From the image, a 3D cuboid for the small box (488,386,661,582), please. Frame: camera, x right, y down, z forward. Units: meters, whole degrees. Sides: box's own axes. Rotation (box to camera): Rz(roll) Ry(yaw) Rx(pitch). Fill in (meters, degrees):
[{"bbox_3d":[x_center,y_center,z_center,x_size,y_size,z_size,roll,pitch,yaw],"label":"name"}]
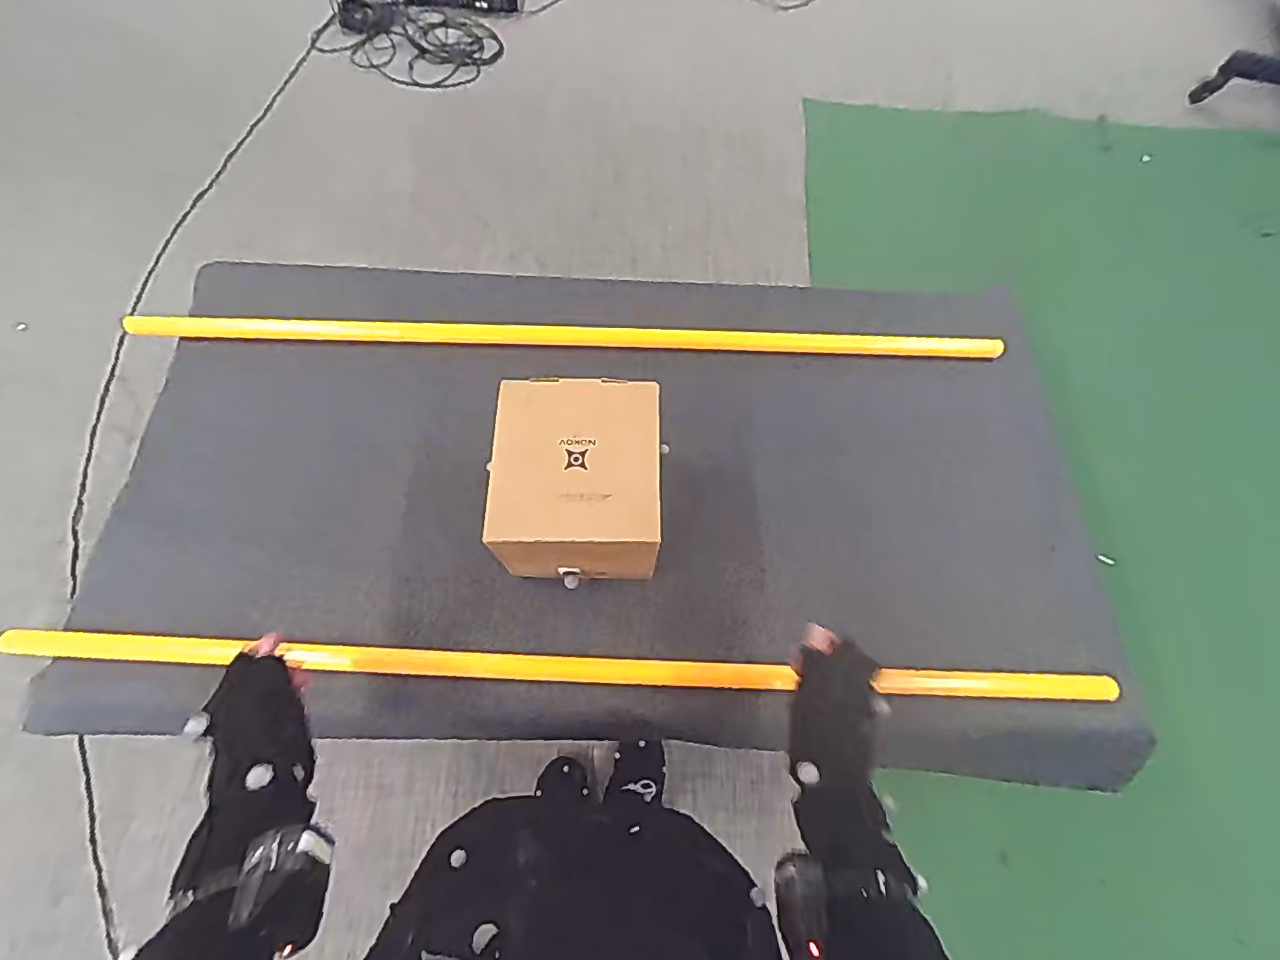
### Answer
[{"bbox_3d":[-0.064,0.012,0.612,0.168,0.176,0.179,-1,68,-1],"label":"small box"}]
